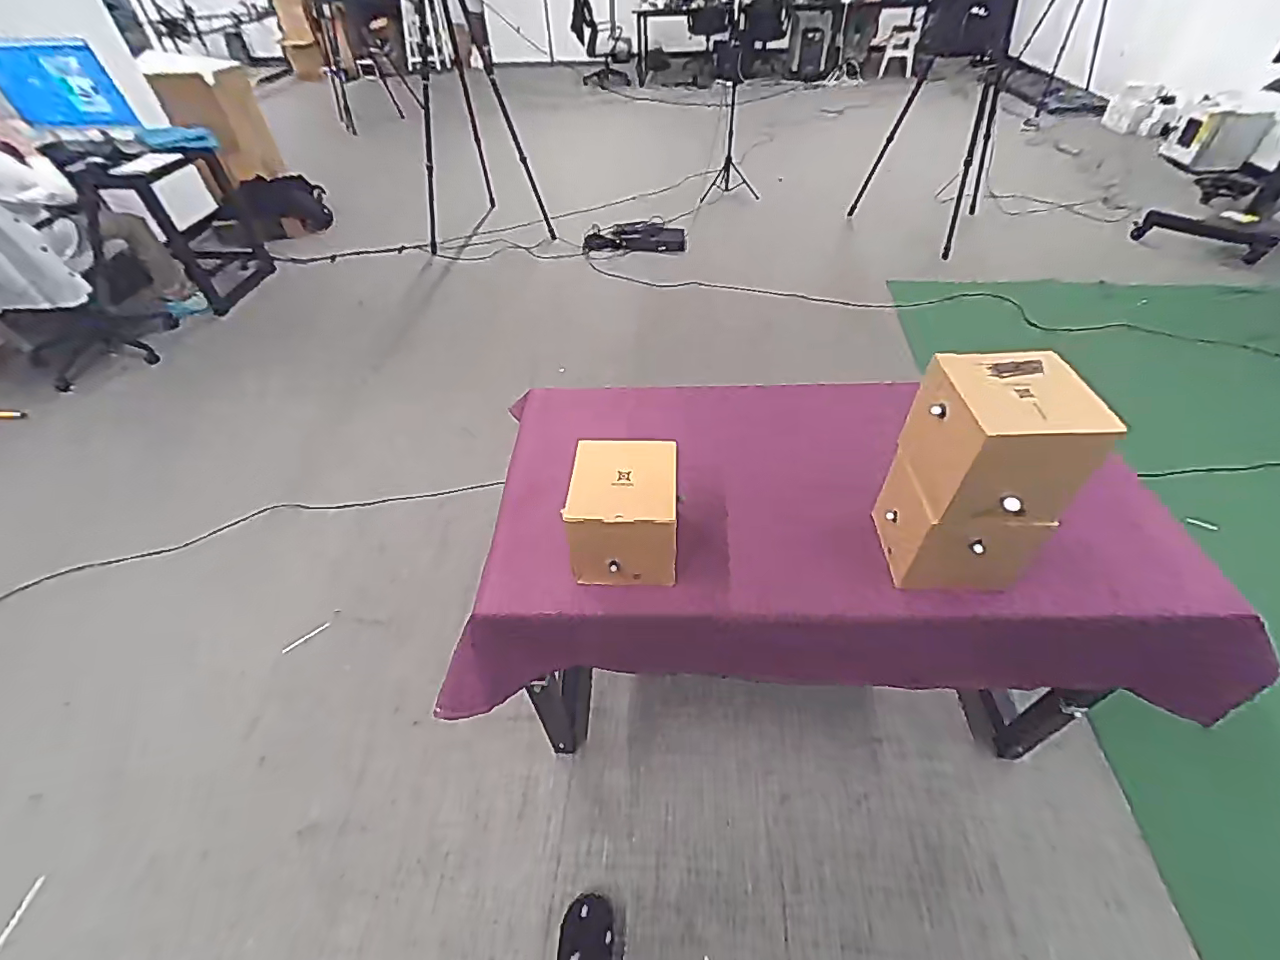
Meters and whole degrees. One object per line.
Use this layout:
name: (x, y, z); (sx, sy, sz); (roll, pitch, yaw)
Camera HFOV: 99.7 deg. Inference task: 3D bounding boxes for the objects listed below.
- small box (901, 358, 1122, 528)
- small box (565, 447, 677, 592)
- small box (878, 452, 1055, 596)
small box: (0.490, -0.051, 0.753); (0.168, 0.176, 0.179); (-1, 46, 3)
small box: (-0.023, 0.065, 0.901); (0.168, 0.176, 0.179); (1, 46, 4)
small box: (0.497, 0.071, 0.863); (0.179, 0.176, 0.168); (1, 46, 4)
